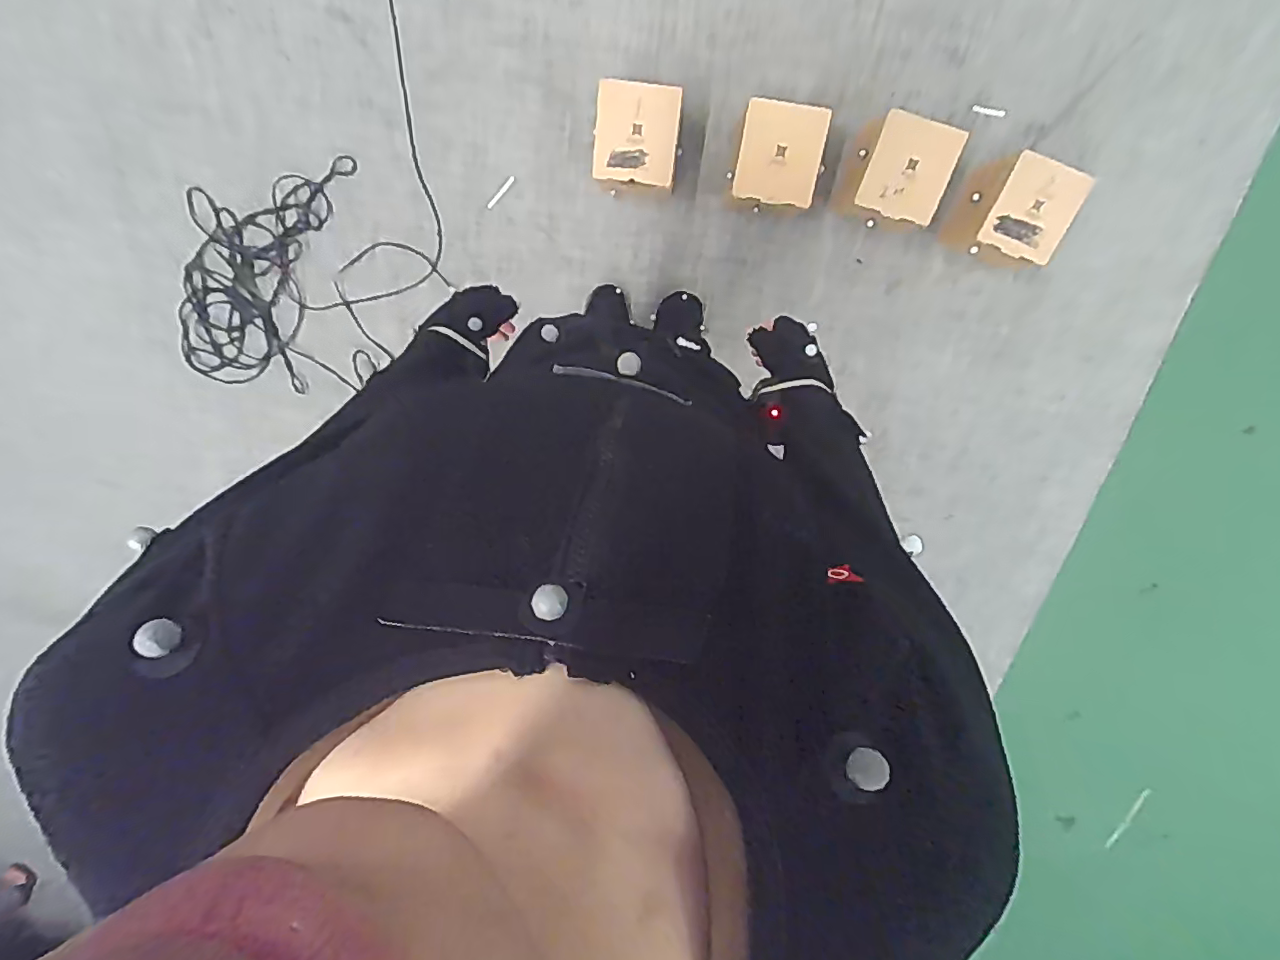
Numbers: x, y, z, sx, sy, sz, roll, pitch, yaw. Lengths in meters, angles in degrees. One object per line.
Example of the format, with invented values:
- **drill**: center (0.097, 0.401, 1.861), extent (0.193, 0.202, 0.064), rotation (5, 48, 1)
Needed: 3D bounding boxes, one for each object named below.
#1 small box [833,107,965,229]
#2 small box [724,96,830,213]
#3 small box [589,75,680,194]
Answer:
- **small box**: center (0.534, -0.649, 1.147), extent (0.168, 0.176, 0.179), rotation (16, 113, -3)
- **small box**: center (0.279, -0.681, 1.150), extent (0.168, 0.176, 0.179), rotation (9, 113, 0)
- **small box**: center (-0.009, -0.720, 1.148), extent (0.168, 0.176, 0.179), rotation (8, 112, 0)
